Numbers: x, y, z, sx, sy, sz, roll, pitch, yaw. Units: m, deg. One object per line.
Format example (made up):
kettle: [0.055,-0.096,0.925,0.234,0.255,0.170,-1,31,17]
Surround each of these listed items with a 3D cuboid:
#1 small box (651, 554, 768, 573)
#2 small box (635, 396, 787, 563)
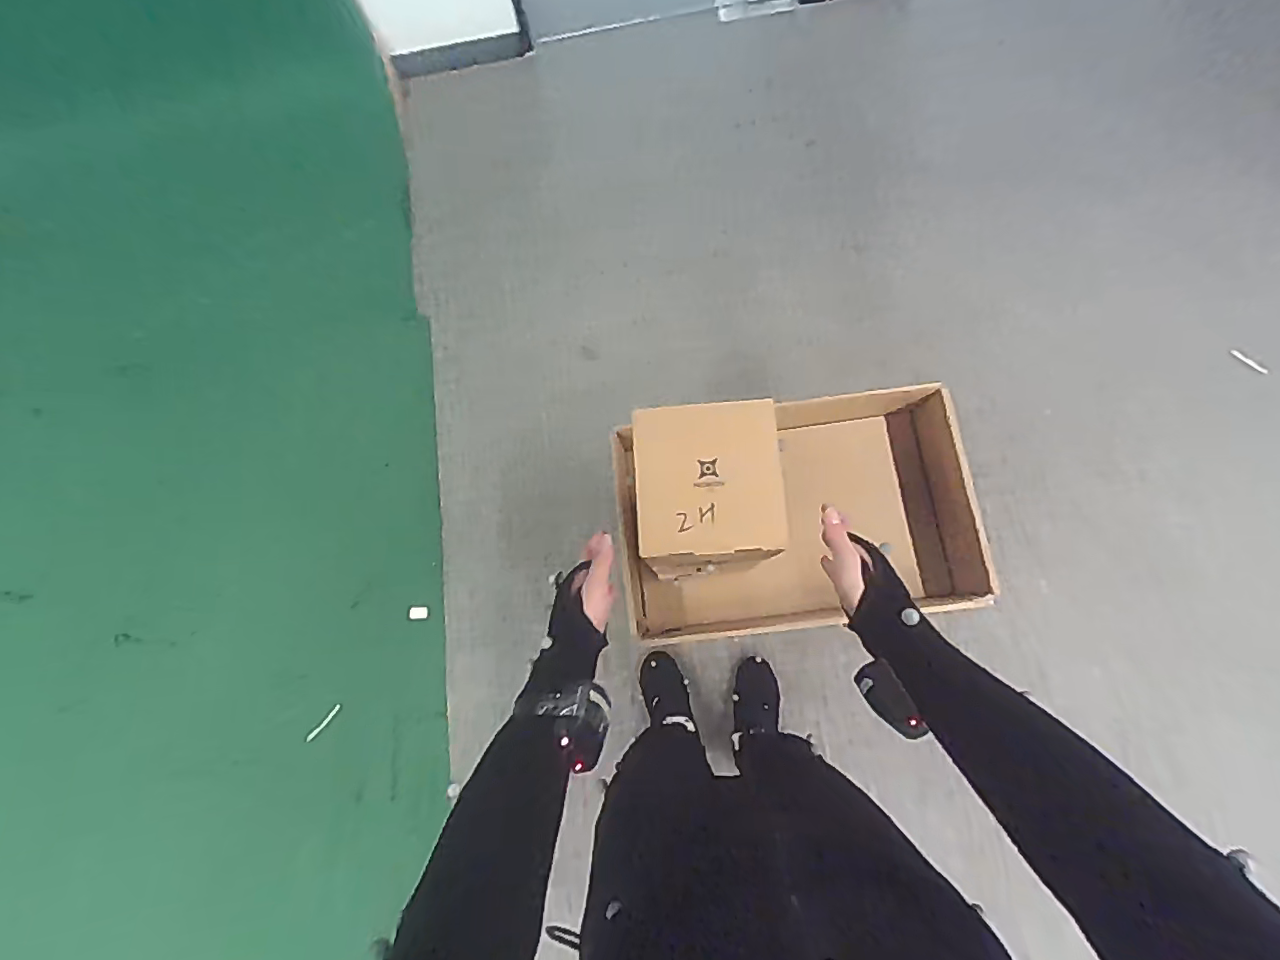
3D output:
small box: [0.097,0.047,0.850,0.168,0.176,0.179,-6,77,4]
small box: [0.083,0.009,0.690,0.168,0.176,0.179,-4,77,4]
